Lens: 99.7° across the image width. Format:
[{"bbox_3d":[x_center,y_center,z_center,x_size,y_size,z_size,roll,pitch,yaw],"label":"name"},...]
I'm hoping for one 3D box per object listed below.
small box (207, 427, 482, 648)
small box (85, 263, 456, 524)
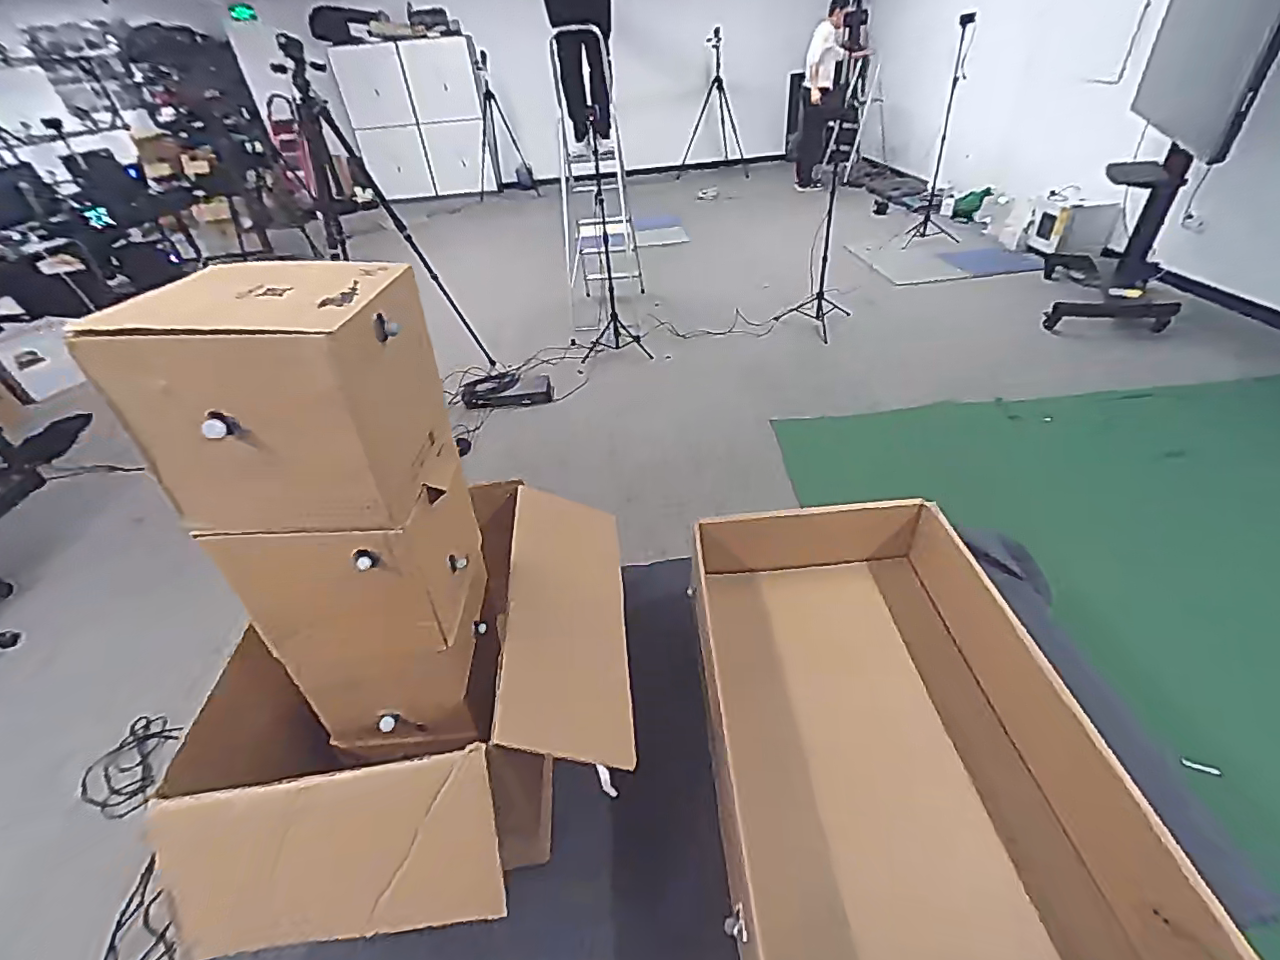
[{"bbox_3d":[-0.277,0.057,0.560,0.179,0.176,0.168,-1,37,-3],"label":"small box"},{"bbox_3d":[-0.278,-0.075,0.463,0.179,0.176,0.168,-1,37,-1],"label":"small box"}]
